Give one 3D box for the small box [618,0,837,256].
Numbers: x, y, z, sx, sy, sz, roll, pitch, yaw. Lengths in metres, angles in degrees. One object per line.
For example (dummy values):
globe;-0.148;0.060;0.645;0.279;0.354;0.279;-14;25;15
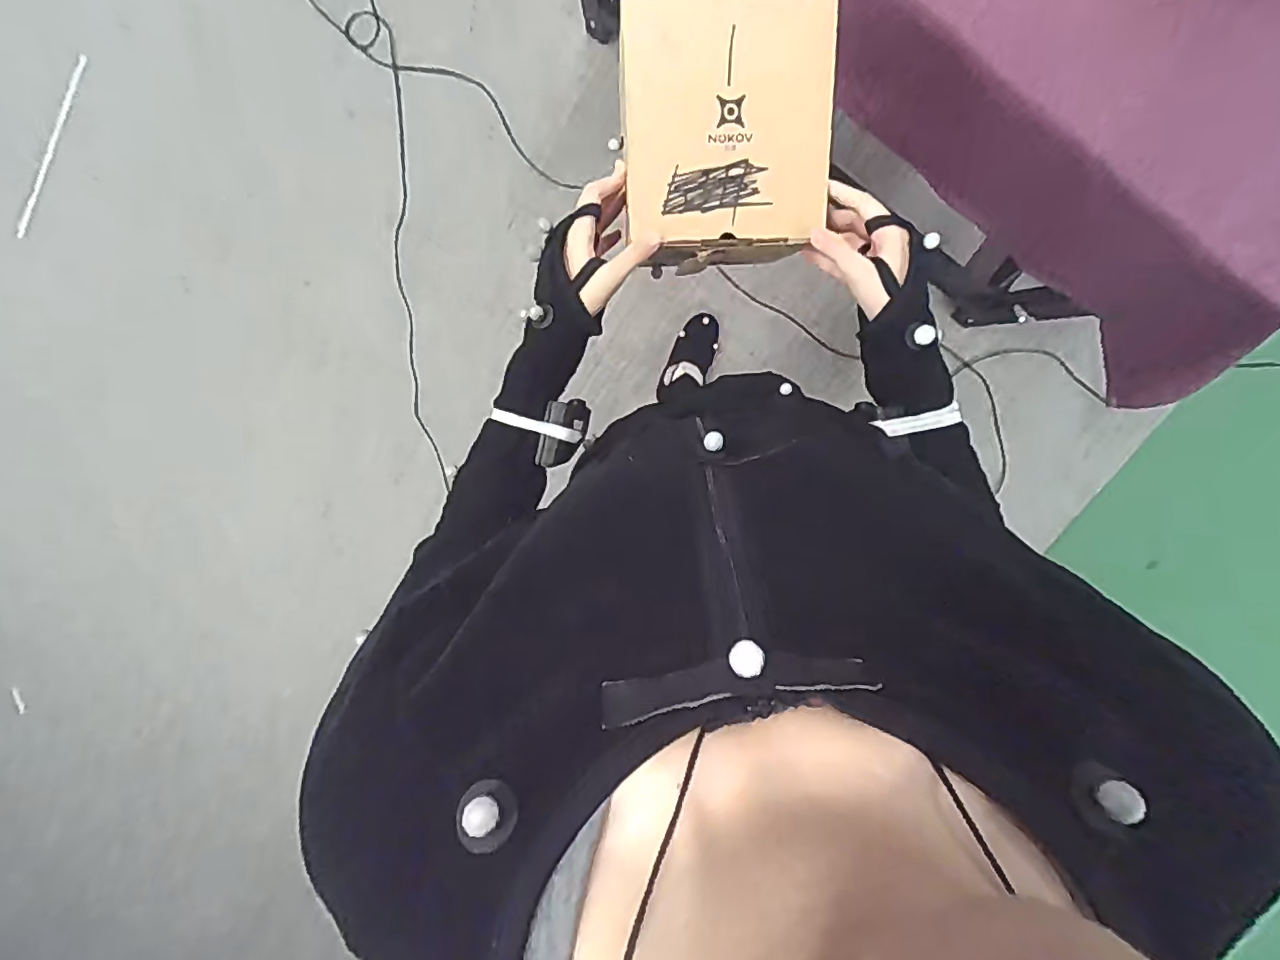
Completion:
small box;0.065;-0.308;0.502;0.168;0.176;0.179;-3;106;-2
